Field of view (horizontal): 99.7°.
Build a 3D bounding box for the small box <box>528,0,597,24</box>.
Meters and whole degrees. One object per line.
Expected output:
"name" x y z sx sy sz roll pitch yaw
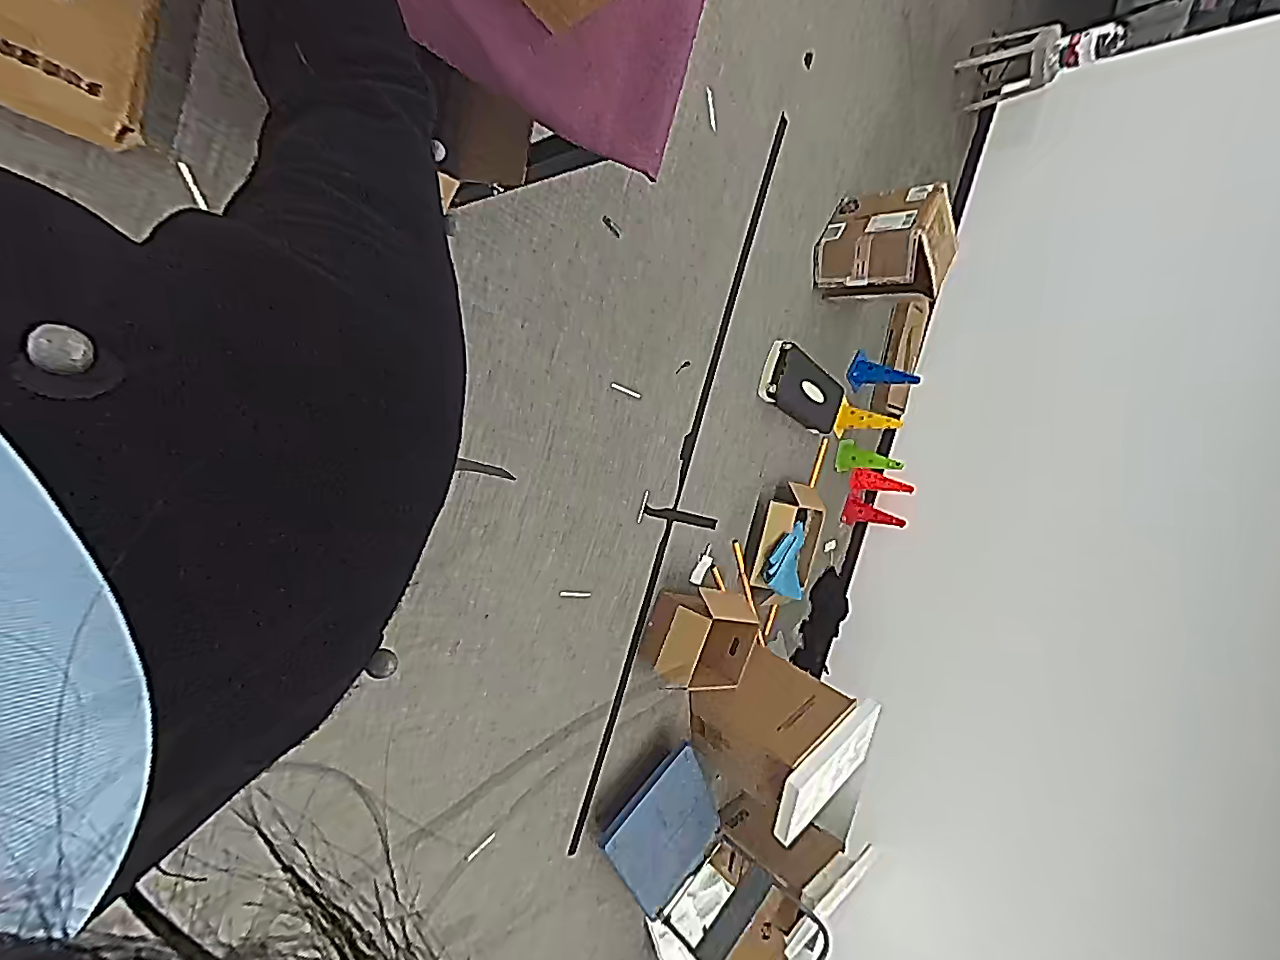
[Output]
"small box" -0.095 -0.734 0.677 0.179 0.176 0.168 22 87 -47
